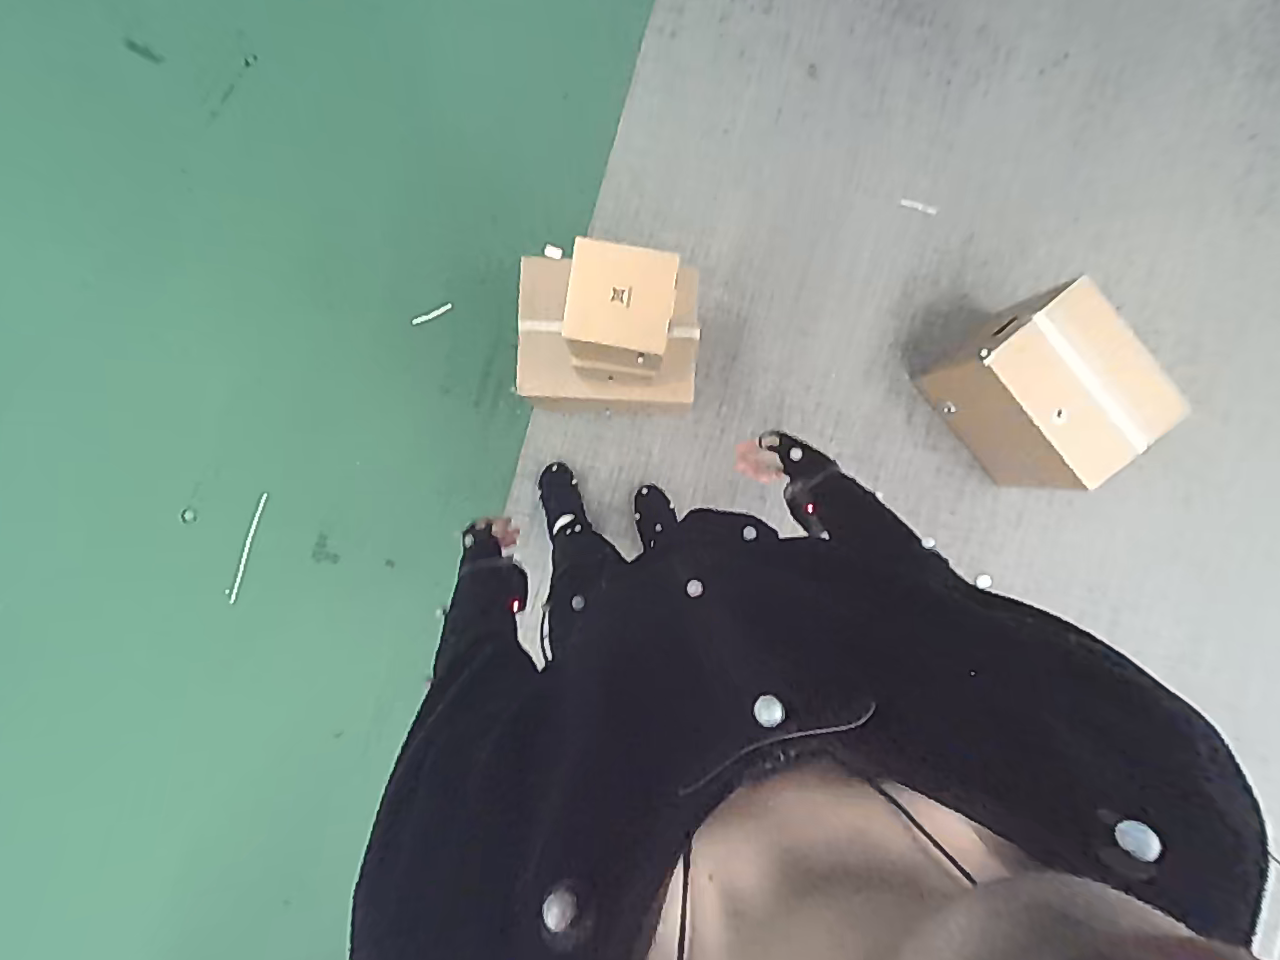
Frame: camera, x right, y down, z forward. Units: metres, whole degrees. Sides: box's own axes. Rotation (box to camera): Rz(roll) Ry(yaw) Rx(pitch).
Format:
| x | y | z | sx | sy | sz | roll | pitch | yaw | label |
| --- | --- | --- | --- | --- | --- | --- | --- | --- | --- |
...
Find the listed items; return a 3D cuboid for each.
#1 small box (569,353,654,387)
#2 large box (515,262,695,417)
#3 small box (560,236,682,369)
| x | y | z | sx | sy | sz | roll | pitch | yaw | label |
| --- | --- | --- | --- | --- | --- | --- | --- | --- | --- |
| -0.045 | -0.294 | 1.107 | 0.168 | 0.176 | 0.179 | 8 | 91 | -3 | small box |
| -0.077 | -0.328 | 1.352 | 0.408 | 0.320 | 0.320 | 2 | 89 | -1 | large box |
| -0.034 | -0.298 | 0.945 | 0.179 | 0.176 | 0.168 | 9 | 91 | -3 | small box |
